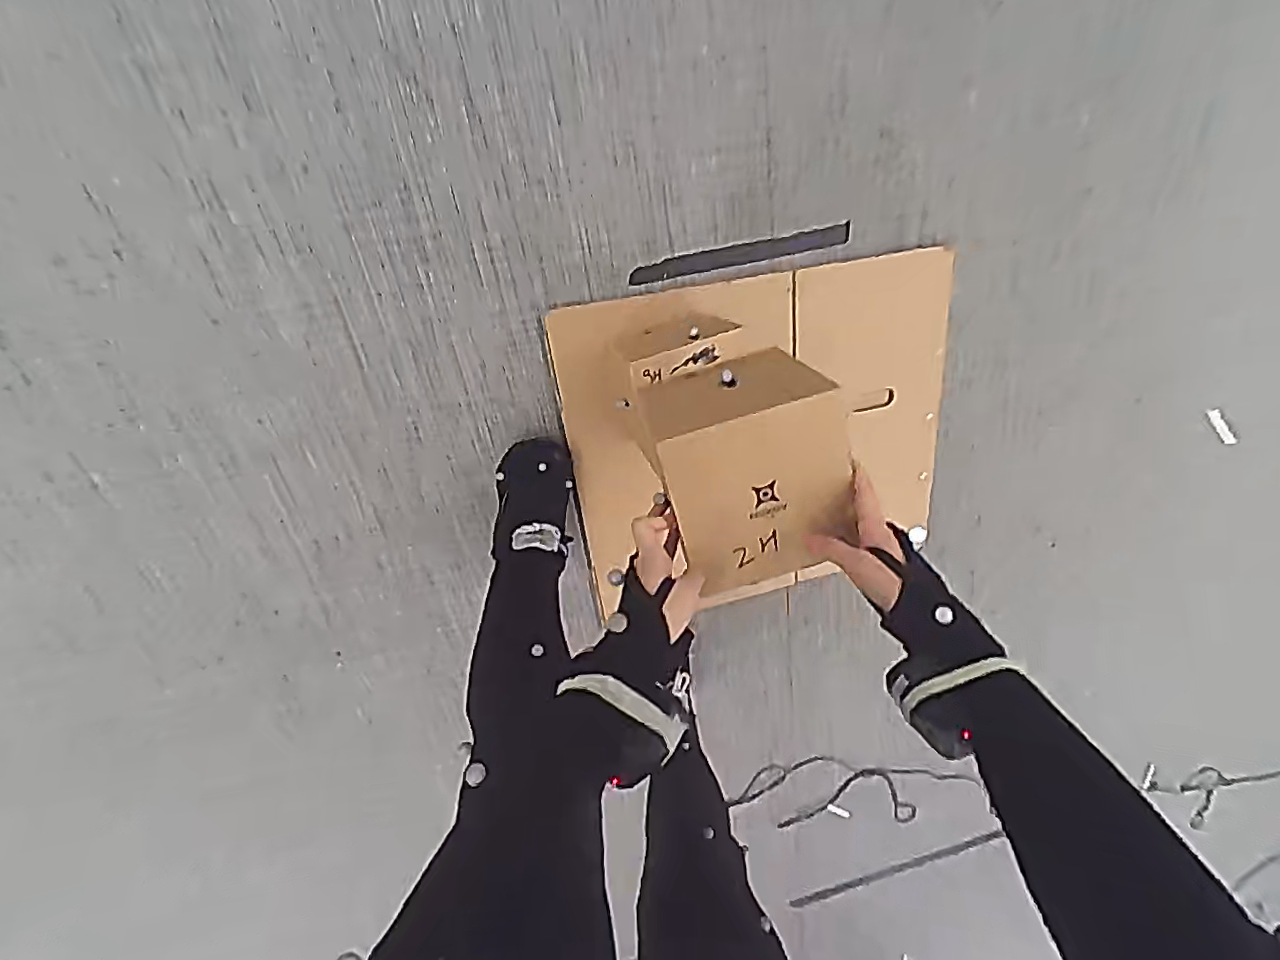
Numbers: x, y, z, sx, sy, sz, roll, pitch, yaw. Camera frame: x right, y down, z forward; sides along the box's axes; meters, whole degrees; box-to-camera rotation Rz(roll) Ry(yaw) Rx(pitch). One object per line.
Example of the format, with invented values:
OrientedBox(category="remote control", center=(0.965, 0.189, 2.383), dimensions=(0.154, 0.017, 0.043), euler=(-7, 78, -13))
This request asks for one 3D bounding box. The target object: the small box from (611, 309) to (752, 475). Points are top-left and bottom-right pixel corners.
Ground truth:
OrientedBox(category="small box", center=(0.066, -0.136, 0.798), dimensions=(0.168, 0.176, 0.179), euler=(-19, 117, -5))

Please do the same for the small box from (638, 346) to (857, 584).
OrientedBox(category="small box", center=(0.102, -0.028, 0.561), dimensions=(0.168, 0.176, 0.179), euler=(-17, 117, 1))
